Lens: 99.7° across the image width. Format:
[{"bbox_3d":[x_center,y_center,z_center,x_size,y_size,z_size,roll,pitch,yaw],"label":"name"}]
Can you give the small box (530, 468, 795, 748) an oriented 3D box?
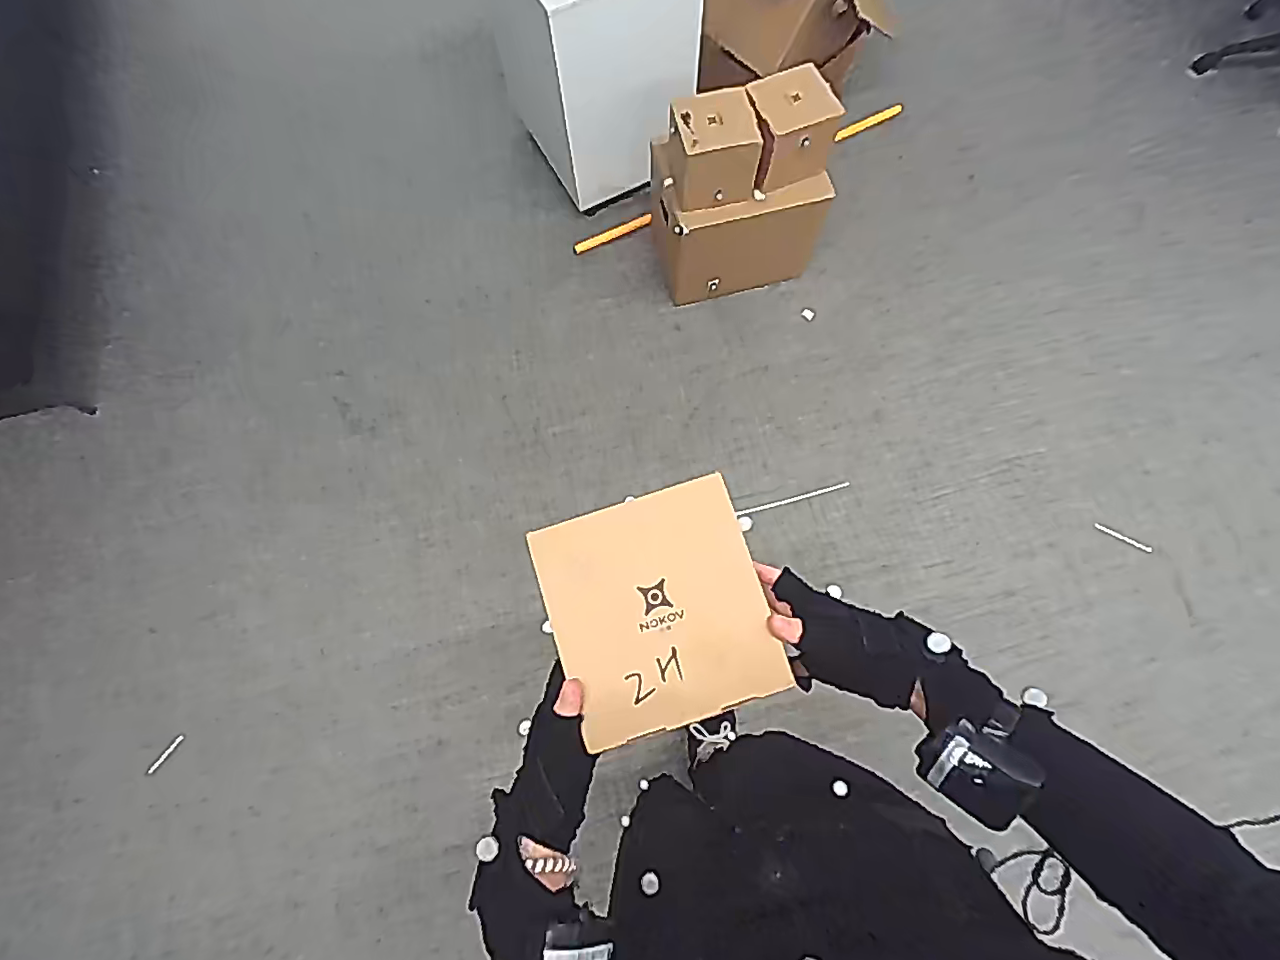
[{"bbox_3d":[0.015,0.108,0.490,0.168,0.176,0.179,-17,80,-1],"label":"small box"}]
